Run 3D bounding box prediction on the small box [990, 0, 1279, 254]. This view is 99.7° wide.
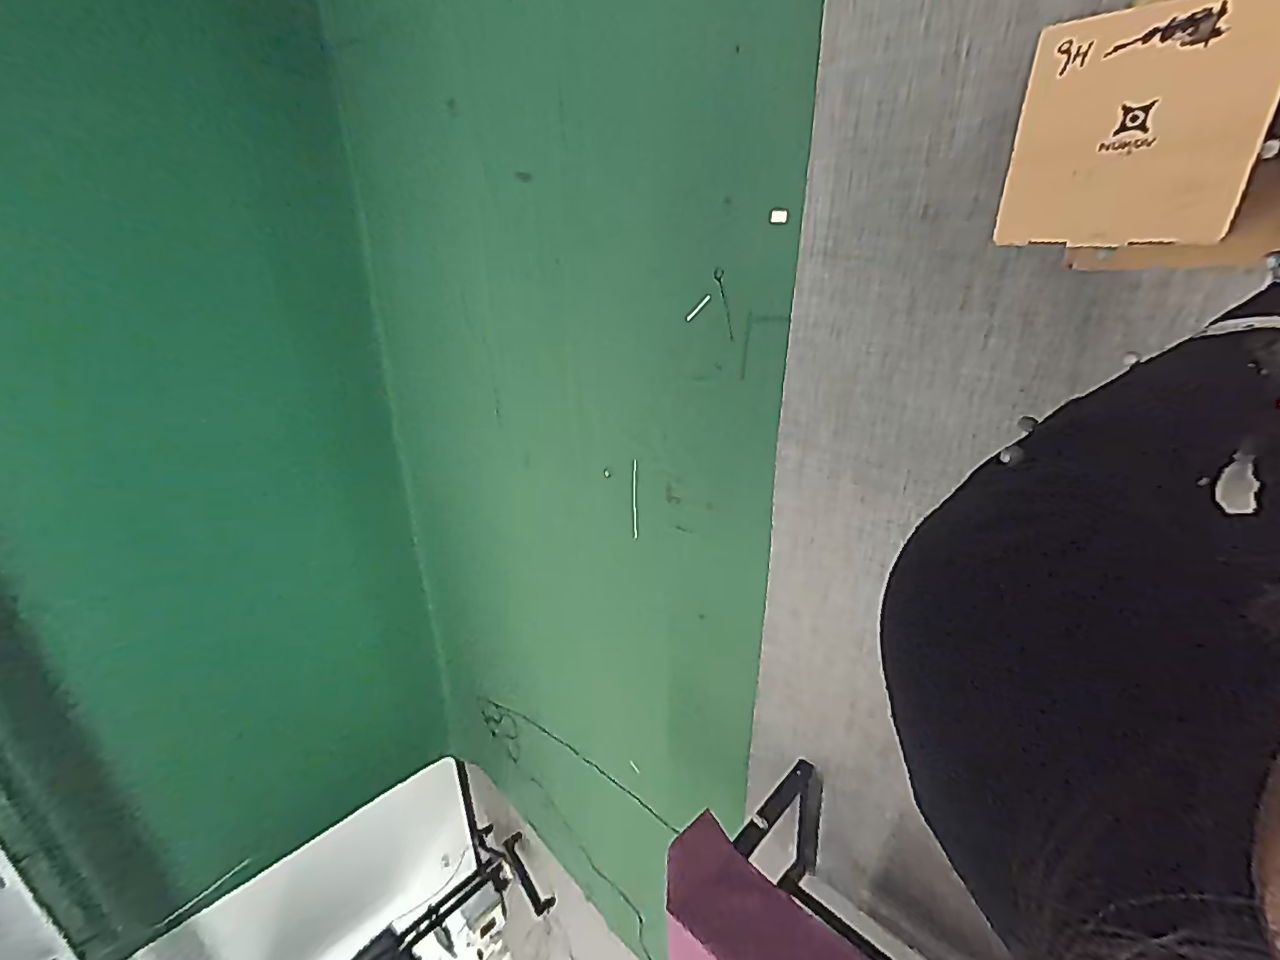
[{"bbox_3d":[0.465,-0.314,0.510,0.168,0.176,0.179,22,123,39],"label":"small box"}]
